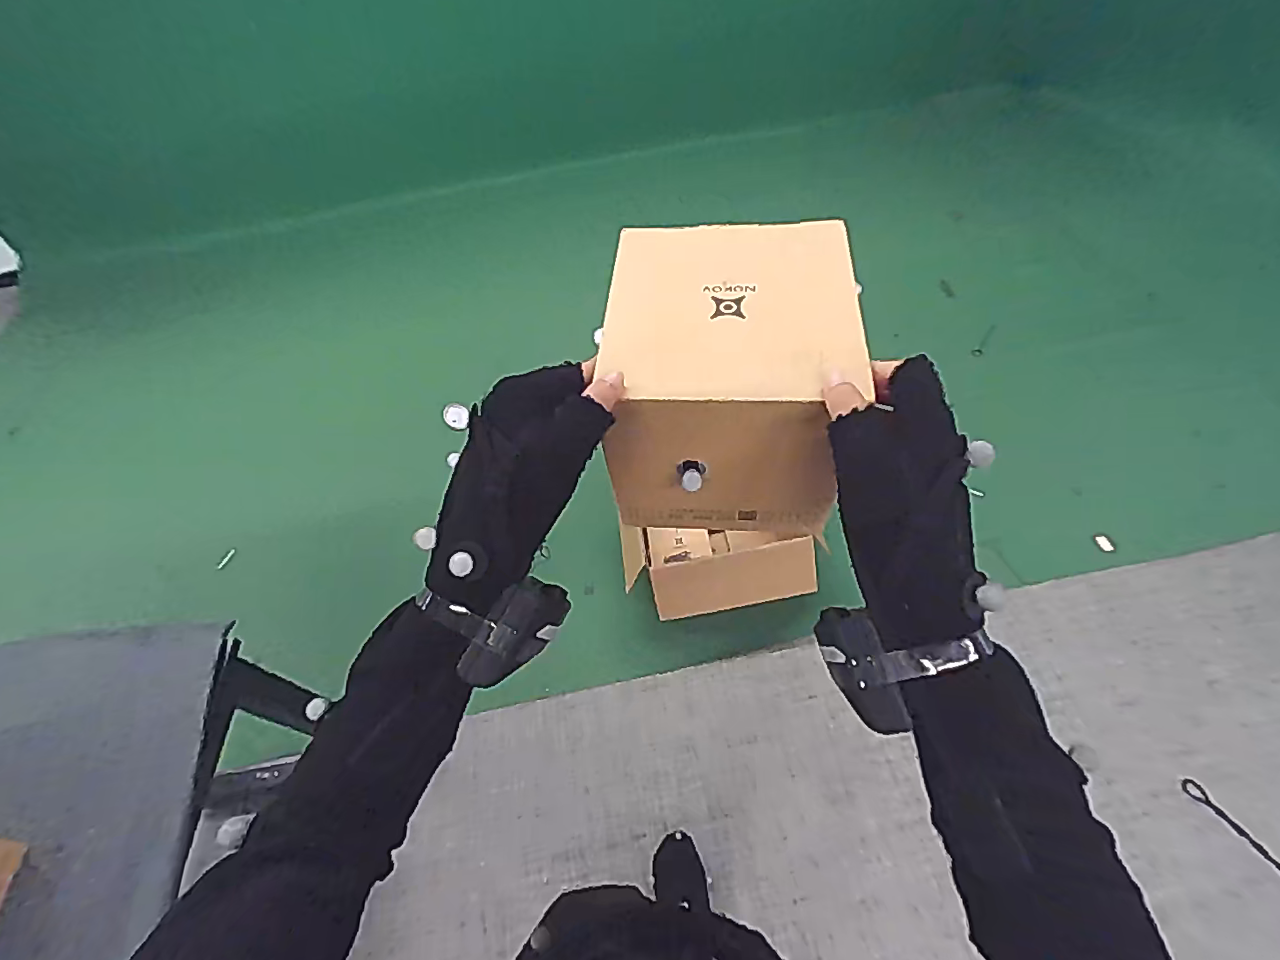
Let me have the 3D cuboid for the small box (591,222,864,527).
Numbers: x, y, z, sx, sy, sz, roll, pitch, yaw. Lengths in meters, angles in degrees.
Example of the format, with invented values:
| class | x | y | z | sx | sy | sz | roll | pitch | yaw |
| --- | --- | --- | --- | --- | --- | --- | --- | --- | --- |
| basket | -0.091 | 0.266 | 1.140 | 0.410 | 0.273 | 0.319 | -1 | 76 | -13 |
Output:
| class | x | y | z | sx | sy | sz | roll | pitch | yaw |
| --- | --- | --- | --- | --- | --- | --- | --- | --- | --- |
| small box | 0.067 | -0.075 | 0.431 | 0.168 | 0.176 | 0.179 | 1 | 56 | 8 |
